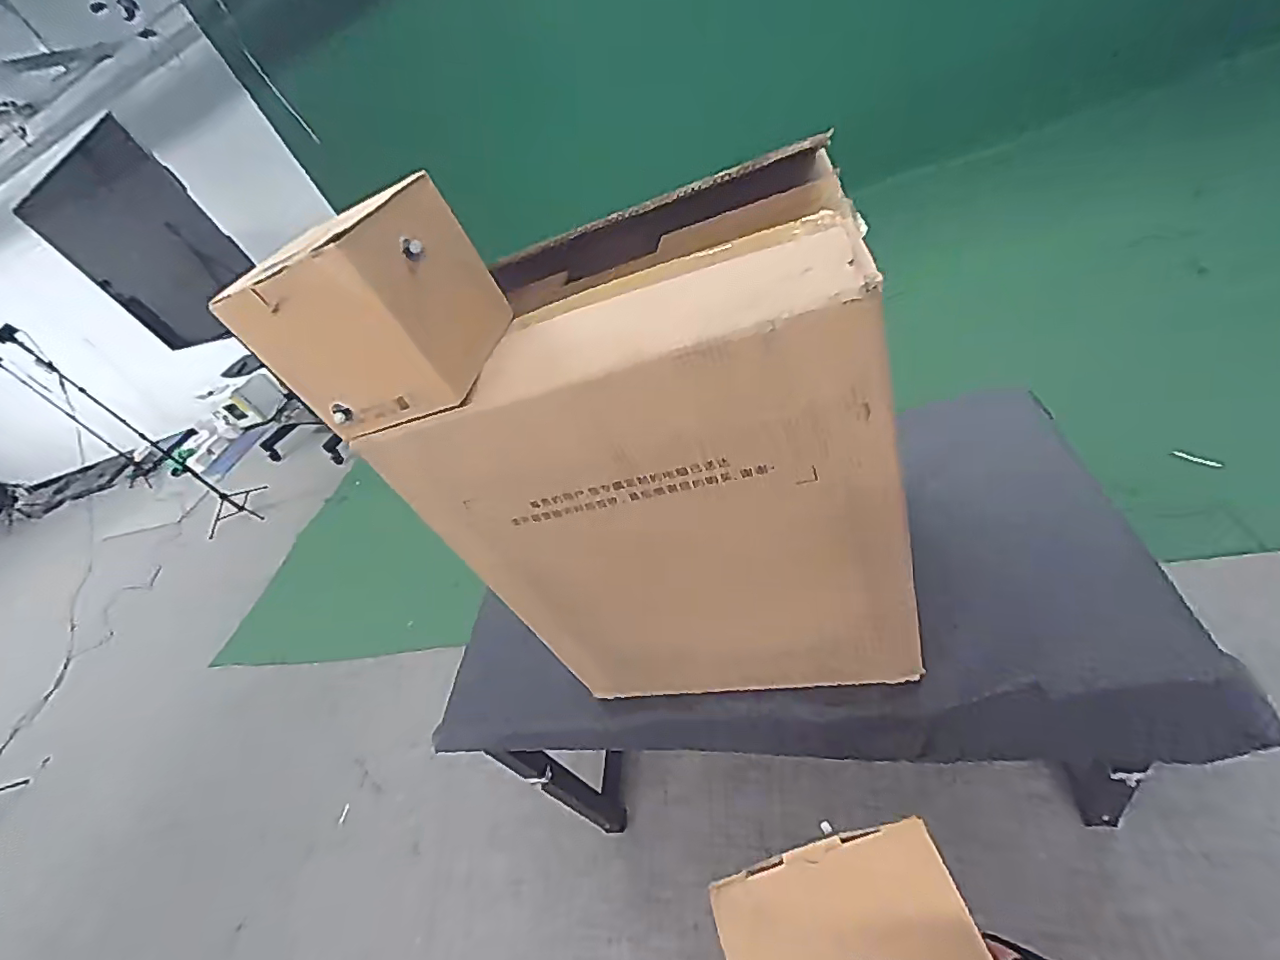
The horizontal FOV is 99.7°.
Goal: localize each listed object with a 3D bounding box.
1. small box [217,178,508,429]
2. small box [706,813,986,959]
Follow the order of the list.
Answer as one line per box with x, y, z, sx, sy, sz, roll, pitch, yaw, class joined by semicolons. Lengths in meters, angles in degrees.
-0.264;-0.170;0.561;0.168;0.176;0.179;-11;41;23;small box
0.159;0.378;0.403;0.168;0.176;0.179;-19;51;2;small box
